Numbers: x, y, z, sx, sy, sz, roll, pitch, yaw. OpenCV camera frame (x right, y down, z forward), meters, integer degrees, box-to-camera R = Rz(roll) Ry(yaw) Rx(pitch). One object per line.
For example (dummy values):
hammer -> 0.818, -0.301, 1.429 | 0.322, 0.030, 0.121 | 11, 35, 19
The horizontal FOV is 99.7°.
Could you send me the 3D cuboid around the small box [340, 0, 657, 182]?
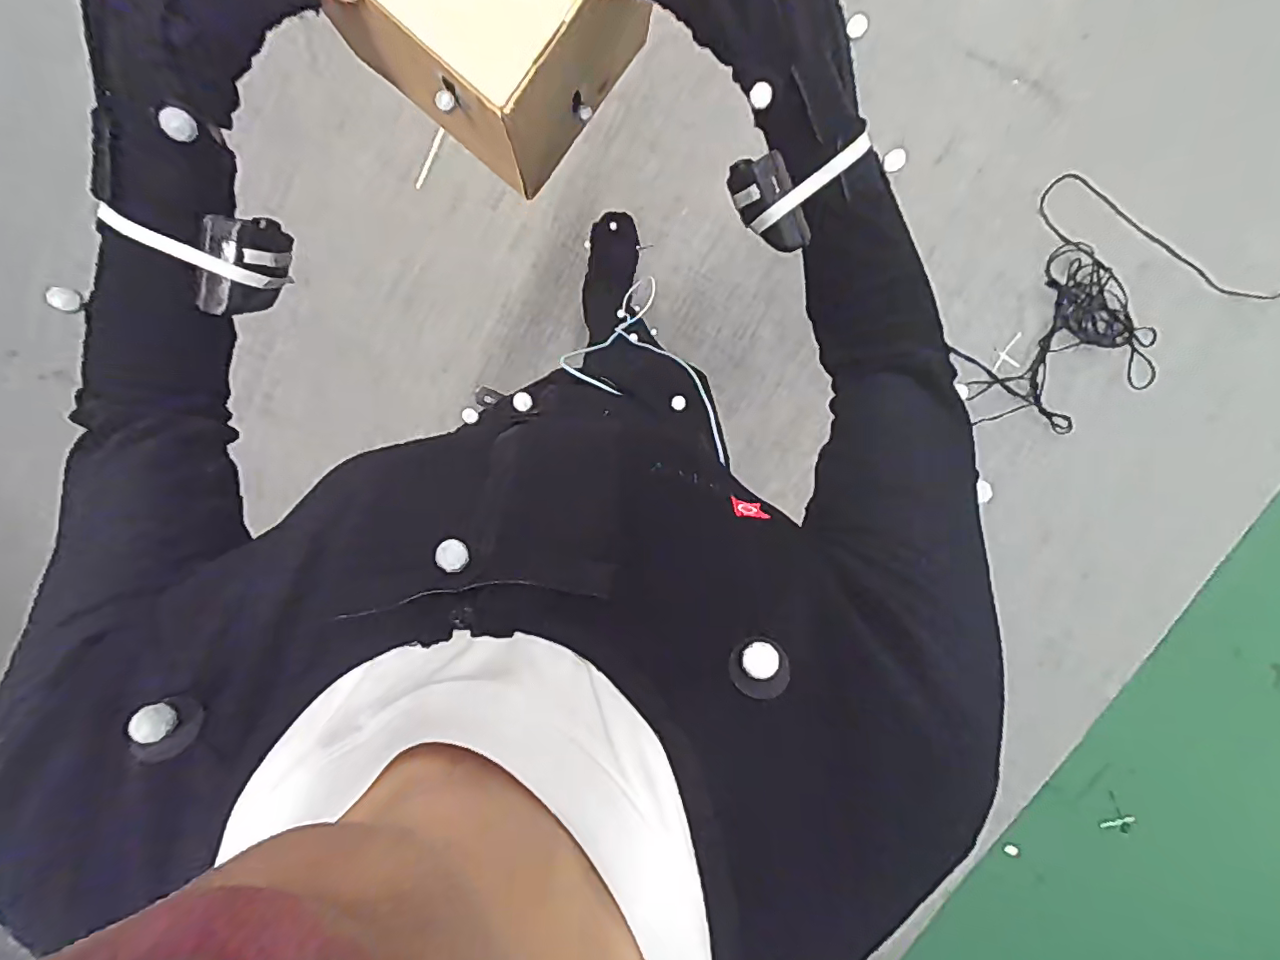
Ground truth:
small box -> -0.098, -0.346, 0.367 | 0.179, 0.176, 0.168 | 37, 95, -13
